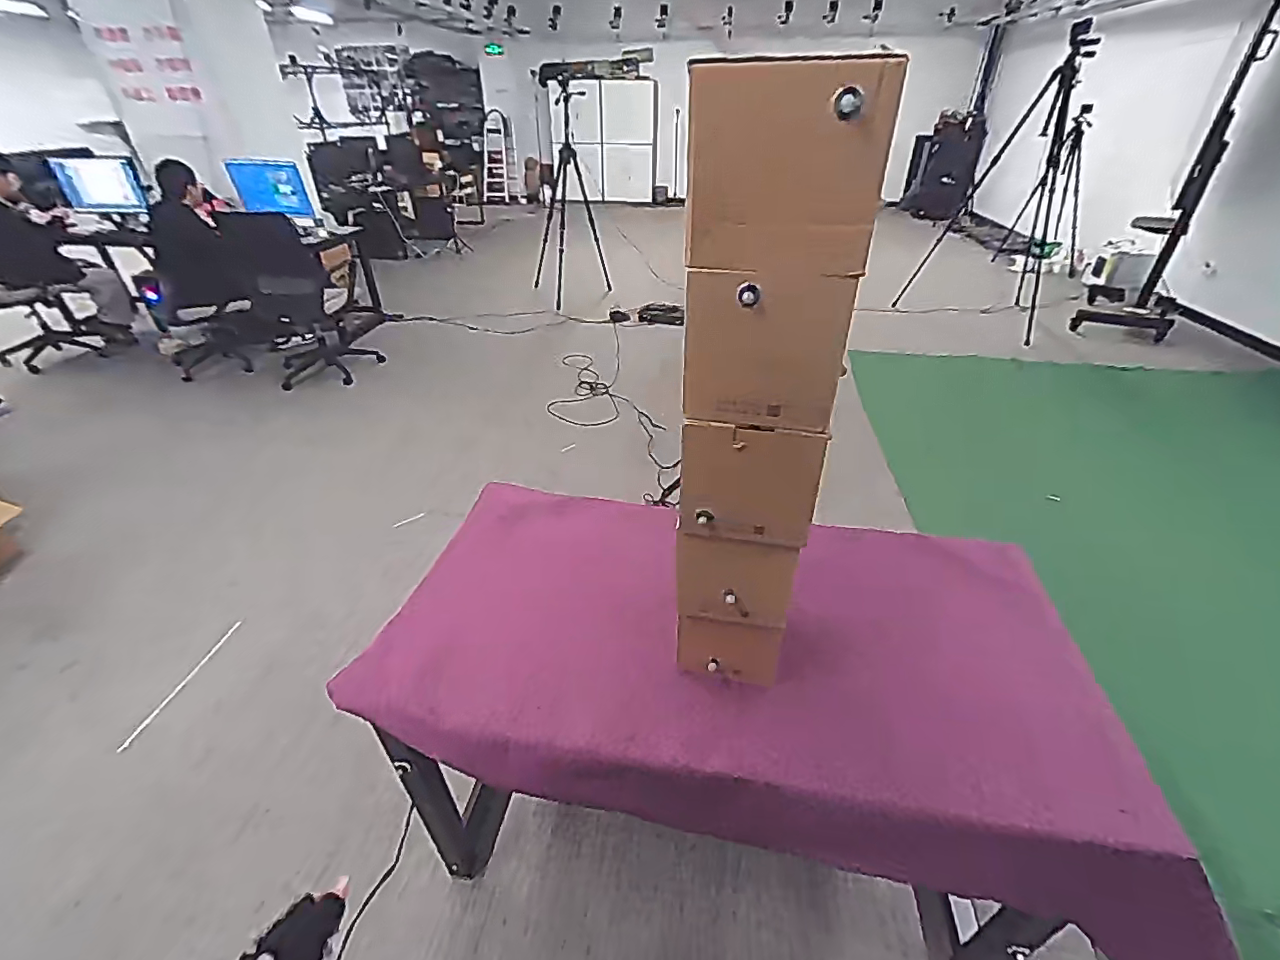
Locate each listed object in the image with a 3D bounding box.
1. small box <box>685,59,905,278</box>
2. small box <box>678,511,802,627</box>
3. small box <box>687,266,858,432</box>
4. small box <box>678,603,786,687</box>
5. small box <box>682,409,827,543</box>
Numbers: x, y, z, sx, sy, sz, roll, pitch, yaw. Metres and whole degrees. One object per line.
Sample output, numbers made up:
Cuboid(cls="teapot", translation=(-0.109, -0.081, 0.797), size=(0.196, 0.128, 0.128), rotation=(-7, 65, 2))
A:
Cuboid(cls="small box", translation=(0.146, -0.309, 0.545), size=(0.179, 0.176, 0.168), rotation=(9, 36, 13))
Cuboid(cls="small box", translation=(0.150, 0.093, 0.827), size=(0.168, 0.176, 0.179), rotation=(6, 35, 11))
Cuboid(cls="small box", translation=(0.150, -0.175, 0.638), size=(0.168, 0.176, 0.179), rotation=(7, 34, 13))
Cuboid(cls="small box", translation=(0.159, 0.220, 0.931), size=(0.168, 0.176, 0.179), rotation=(7, 36, 12))
Cuboid(cls="small box", translation=(0.151, -0.037, 0.726), size=(0.168, 0.176, 0.179), rotation=(7, 34, 11))
